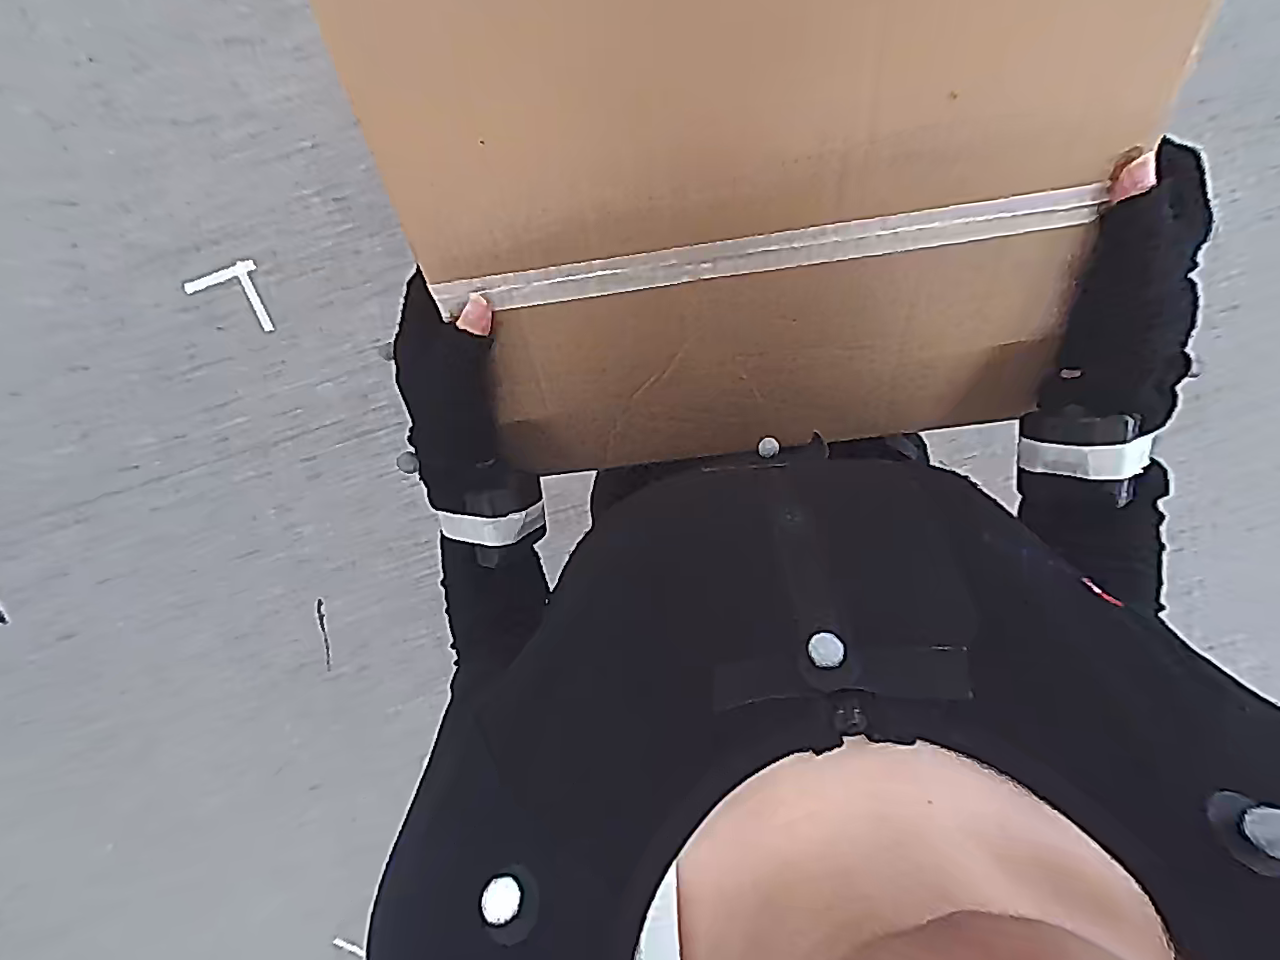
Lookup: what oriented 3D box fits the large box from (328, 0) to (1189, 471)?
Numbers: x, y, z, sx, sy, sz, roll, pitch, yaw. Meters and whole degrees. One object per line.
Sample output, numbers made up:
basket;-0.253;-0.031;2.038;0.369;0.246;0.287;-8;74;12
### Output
large box;0.069;-0.244;0.436;0.408;0.320;0.320;-7;134;4
